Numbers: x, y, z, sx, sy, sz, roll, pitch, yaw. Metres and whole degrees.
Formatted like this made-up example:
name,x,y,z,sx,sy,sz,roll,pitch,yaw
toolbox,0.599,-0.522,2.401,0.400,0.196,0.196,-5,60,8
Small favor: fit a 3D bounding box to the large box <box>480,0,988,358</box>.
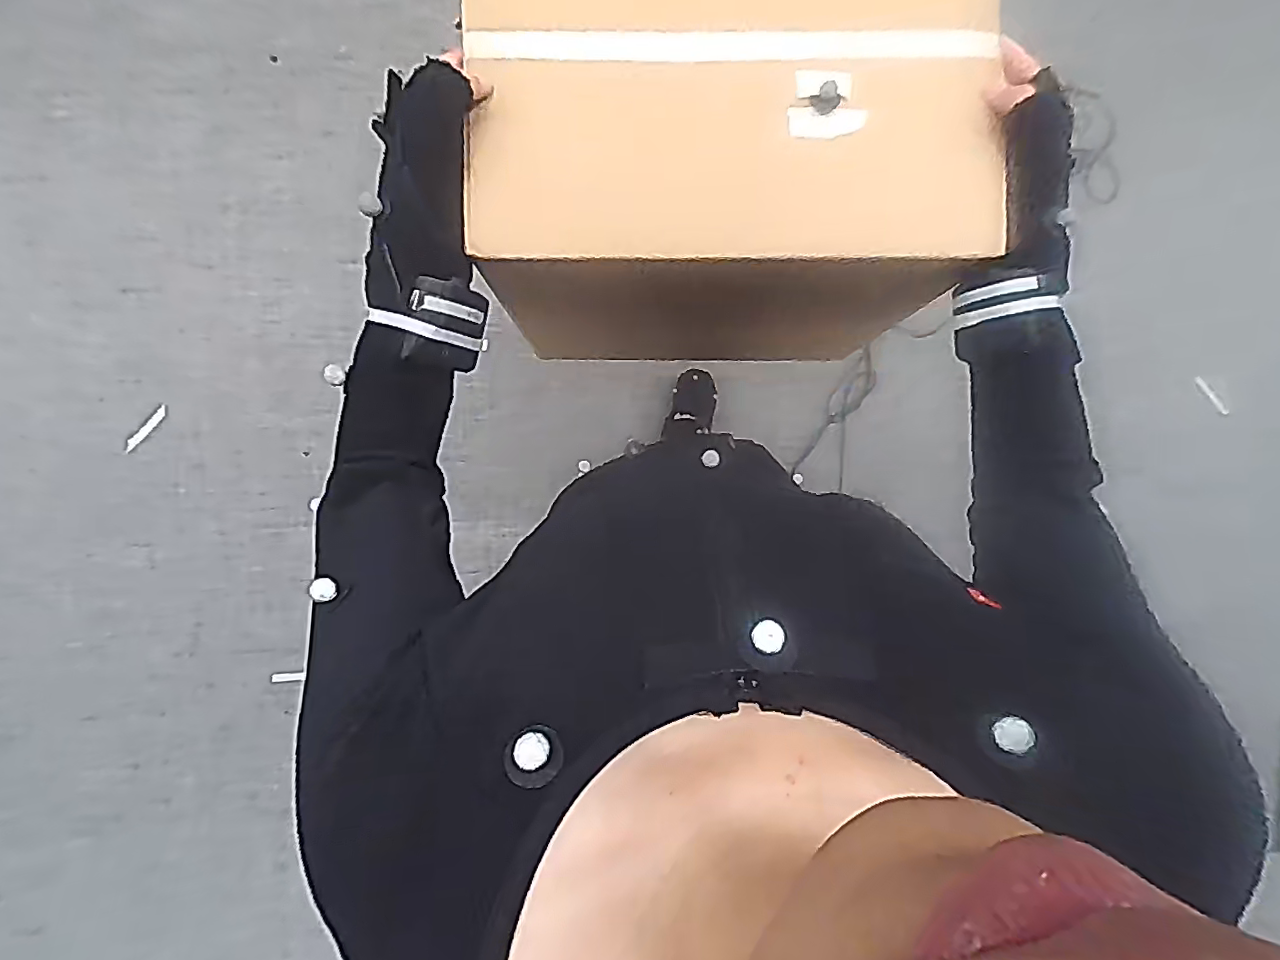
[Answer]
name,x,y,z,sx,sy,sz,roll,pitch,yaw
large box,0.068,-0.325,0.575,0.408,0.320,0.320,-1,88,-1
